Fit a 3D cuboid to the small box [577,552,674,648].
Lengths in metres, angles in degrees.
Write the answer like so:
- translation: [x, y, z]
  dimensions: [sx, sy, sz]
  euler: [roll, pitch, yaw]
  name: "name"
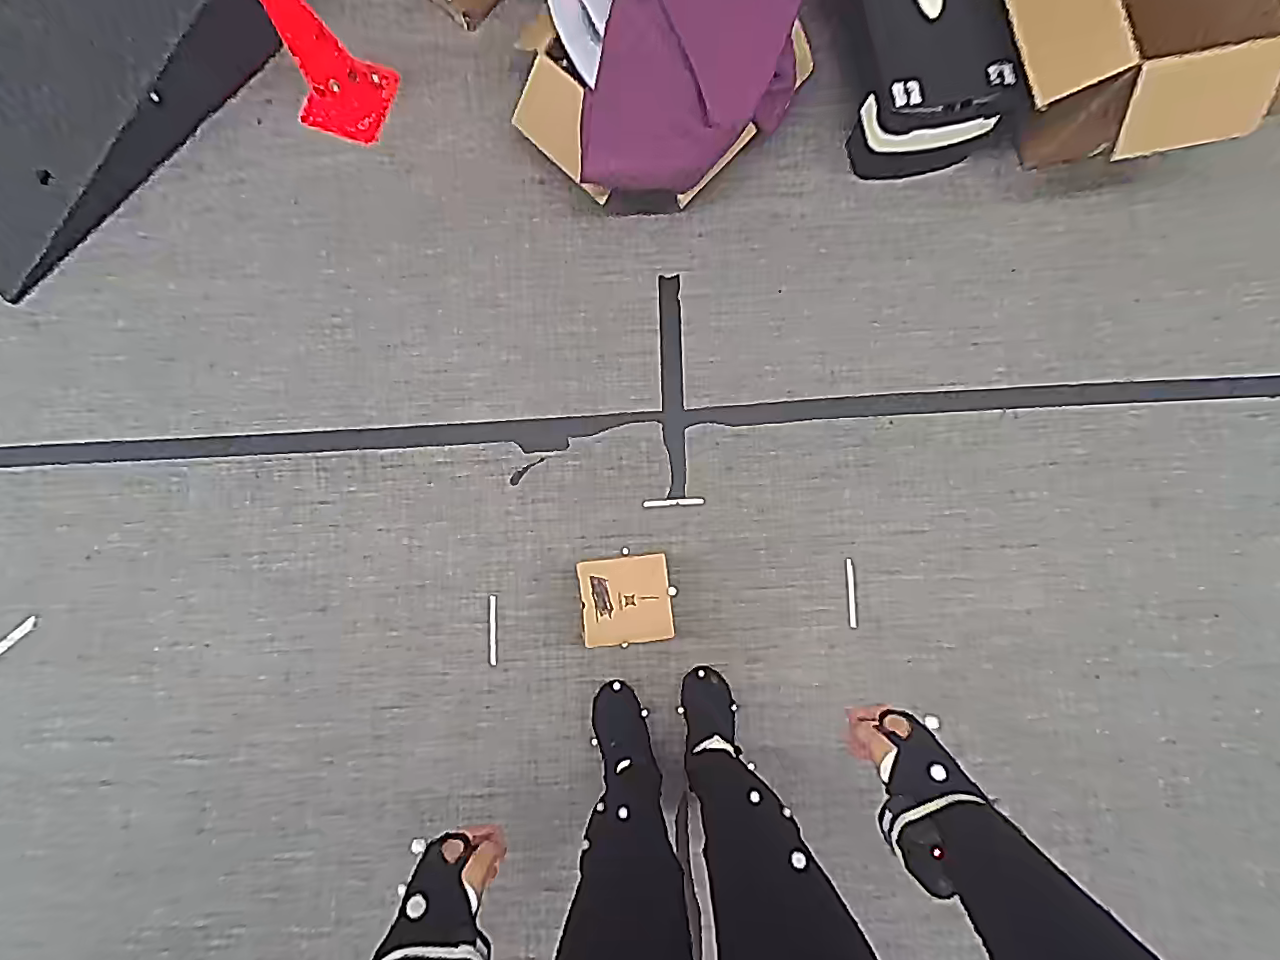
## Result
- translation: [-0.026, 0.241, 1.116]
  dimensions: [0.179, 0.176, 0.168]
  euler: [-6, 85, 0]
  name: "small box"
